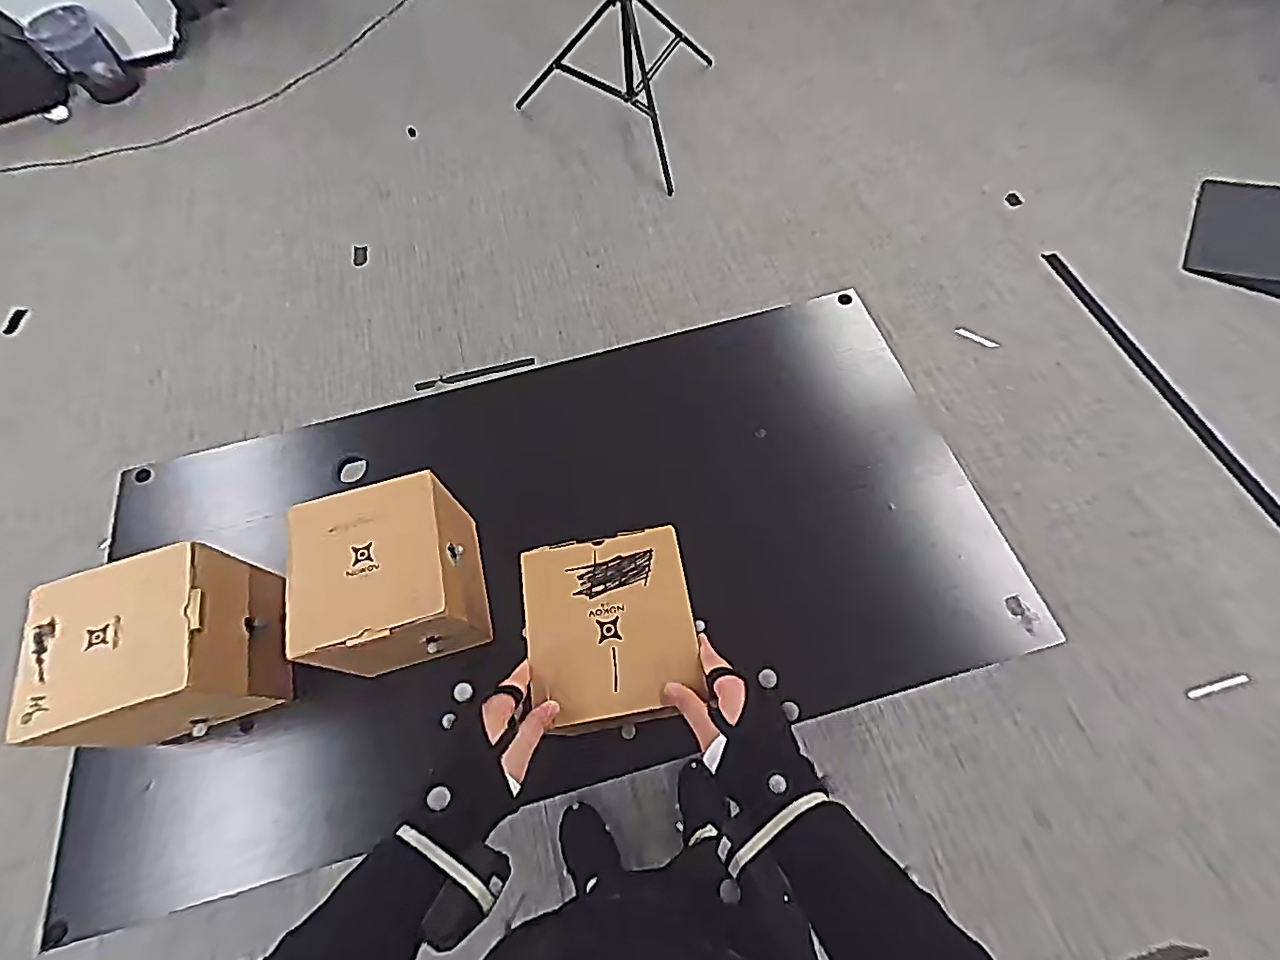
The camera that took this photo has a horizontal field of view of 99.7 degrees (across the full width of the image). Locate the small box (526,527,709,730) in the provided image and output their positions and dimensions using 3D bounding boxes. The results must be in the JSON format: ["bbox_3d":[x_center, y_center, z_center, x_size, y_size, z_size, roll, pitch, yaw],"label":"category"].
[{"bbox_3d":[-0.024,0.173,0.606,0.168,0.176,0.179,-10,64,-1],"label":"small box"}]

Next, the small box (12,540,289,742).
[{"bbox_3d":[-0.543,0.193,0.634,0.179,0.176,0.168,-17,64,-6],"label":"small box"}]

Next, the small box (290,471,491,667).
[{"bbox_3d":[-0.293,0.118,0.659,0.168,0.176,0.179,-15,64,-5],"label":"small box"}]
